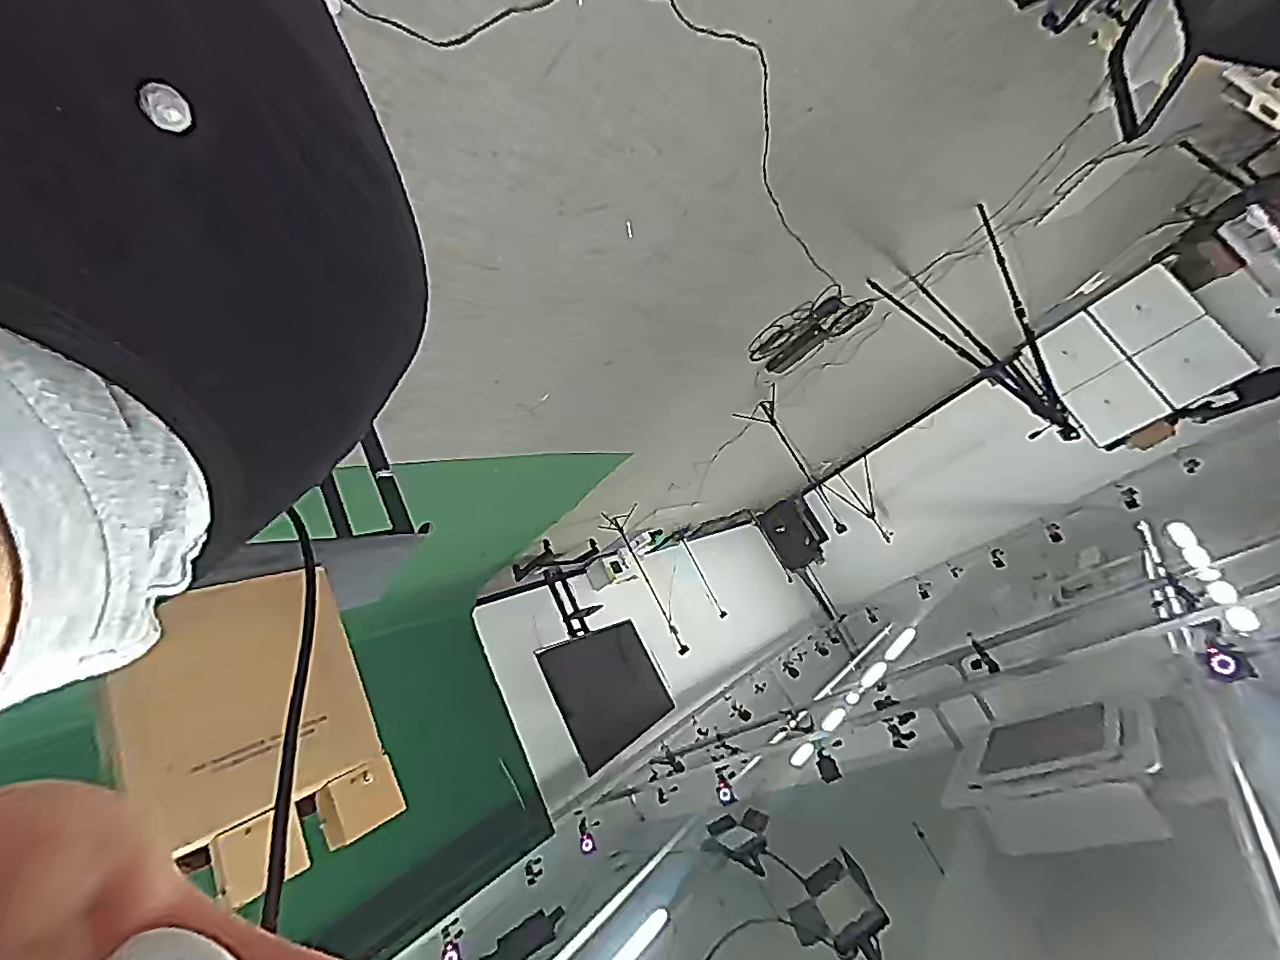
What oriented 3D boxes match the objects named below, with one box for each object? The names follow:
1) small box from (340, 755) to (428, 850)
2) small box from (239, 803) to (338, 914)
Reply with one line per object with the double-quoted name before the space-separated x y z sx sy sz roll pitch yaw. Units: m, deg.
"small box" -0.757 0.940 1.586 0.168 0.176 0.179 -15 157 -48
"small box" -0.911 0.969 1.395 0.168 0.176 0.179 -10 155 -47
